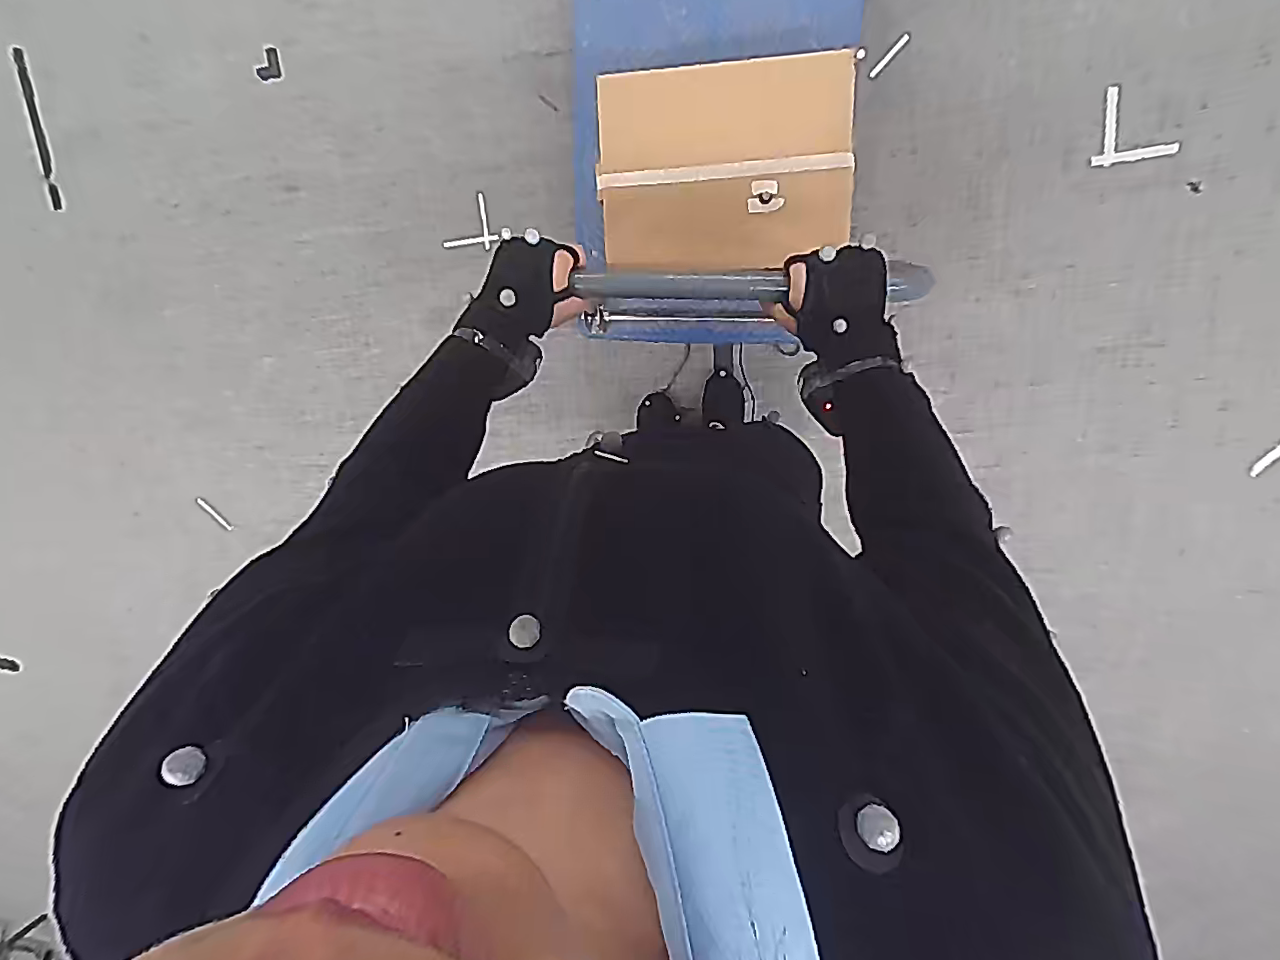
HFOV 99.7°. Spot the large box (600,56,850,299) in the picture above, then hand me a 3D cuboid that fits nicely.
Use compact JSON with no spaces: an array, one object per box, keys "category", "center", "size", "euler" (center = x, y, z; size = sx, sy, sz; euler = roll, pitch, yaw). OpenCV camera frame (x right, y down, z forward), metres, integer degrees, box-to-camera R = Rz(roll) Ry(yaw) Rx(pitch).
[{"category":"large box","center":[0.152,-0.537,1.039],"size":[0.408,0.320,0.320],"euler":[-1,103,6]}]
